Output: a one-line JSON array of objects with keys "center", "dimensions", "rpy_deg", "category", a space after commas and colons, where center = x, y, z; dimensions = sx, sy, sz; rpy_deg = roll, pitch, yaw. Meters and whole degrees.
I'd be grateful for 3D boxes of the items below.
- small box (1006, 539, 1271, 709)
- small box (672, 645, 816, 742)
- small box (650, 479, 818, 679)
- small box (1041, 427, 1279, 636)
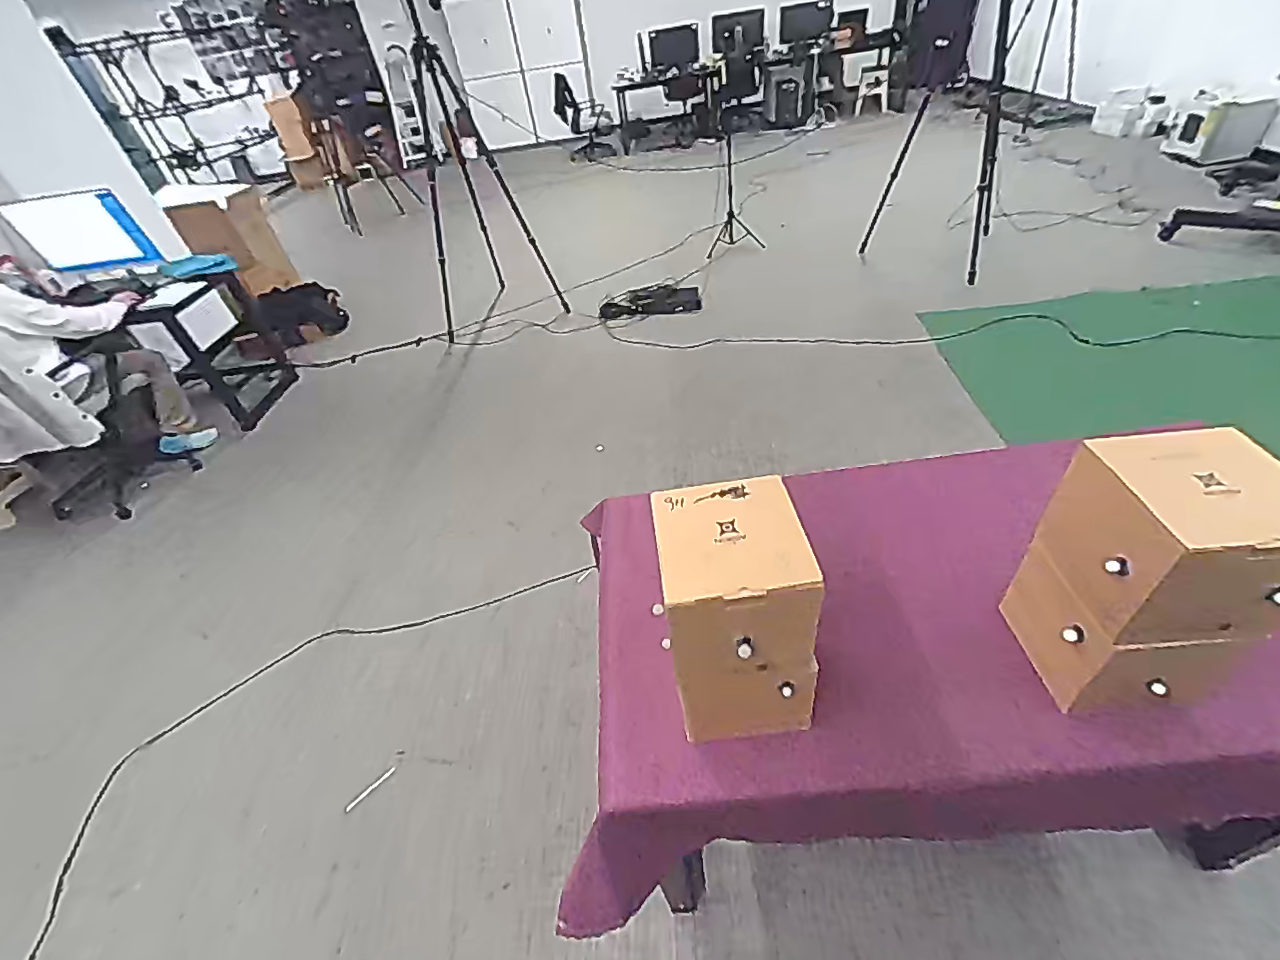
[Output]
[{"center": [0.634, 0.189, 0.721], "dimensions": [0.168, 0.176, 0.179], "rpy_deg": [-7, 40, 5], "category": "small box"}, {"center": [0.137, 0.251, 0.768], "dimensions": [0.179, 0.176, 0.168], "rpy_deg": [-8, 40, 2], "category": "small box"}, {"center": [0.108, 0.127, 0.664], "dimensions": [0.168, 0.176, 0.179], "rpy_deg": [-8, 41, 2], "category": "small box"}, {"center": [0.610, 0.064, 0.618], "dimensions": [0.168, 0.176, 0.179], "rpy_deg": [-5, 40, 7], "category": "small box"}]
